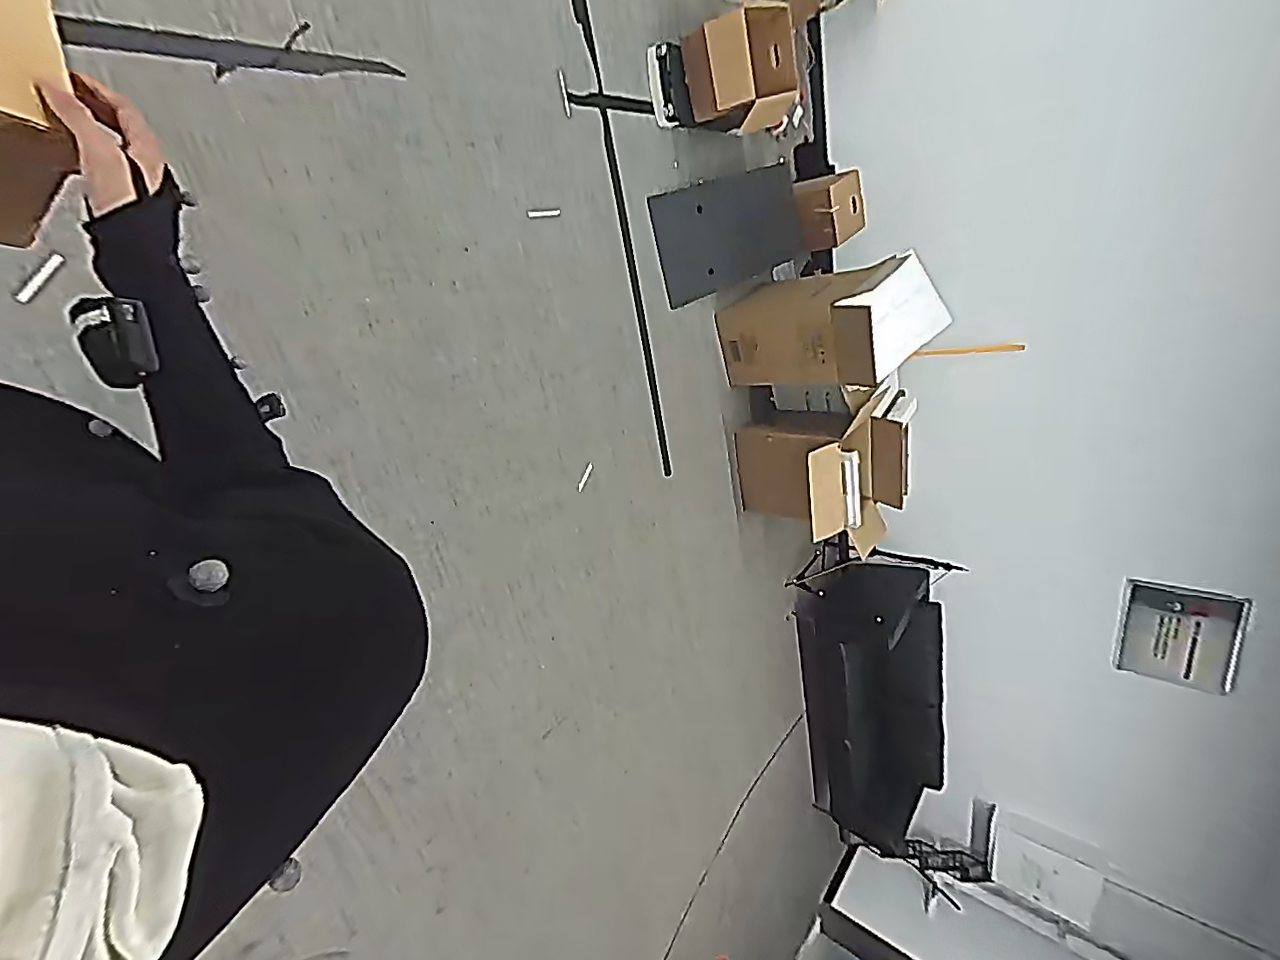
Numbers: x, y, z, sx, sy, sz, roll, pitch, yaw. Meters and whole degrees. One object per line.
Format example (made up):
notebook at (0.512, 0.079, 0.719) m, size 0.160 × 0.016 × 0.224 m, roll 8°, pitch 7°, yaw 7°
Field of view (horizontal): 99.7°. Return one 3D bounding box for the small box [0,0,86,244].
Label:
small box at (-0.568, -0.314, 0.399) m, size 0.168 × 0.176 × 0.179 m, roll -13°, pitch 83°, yaw -61°
